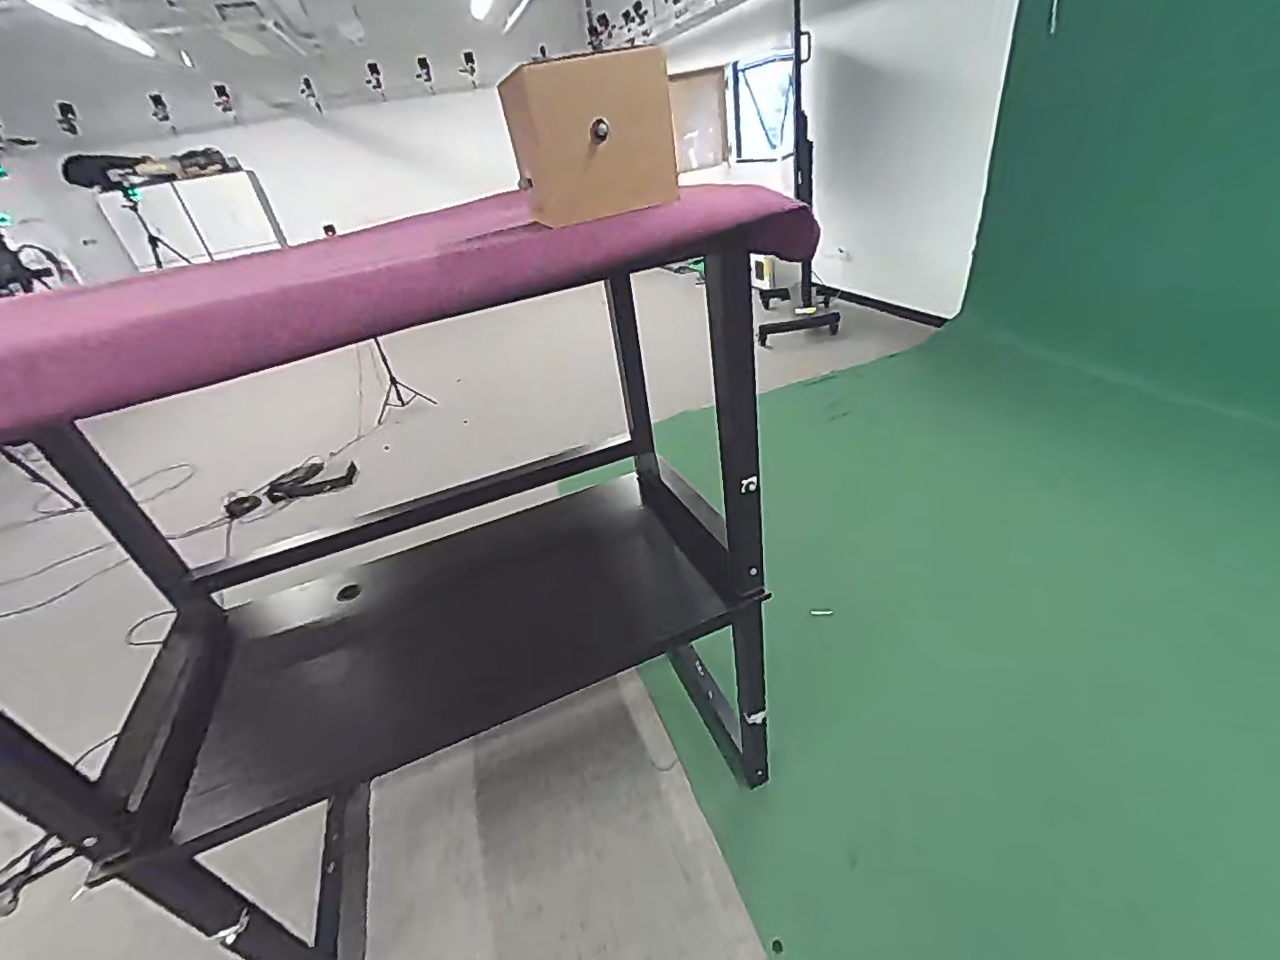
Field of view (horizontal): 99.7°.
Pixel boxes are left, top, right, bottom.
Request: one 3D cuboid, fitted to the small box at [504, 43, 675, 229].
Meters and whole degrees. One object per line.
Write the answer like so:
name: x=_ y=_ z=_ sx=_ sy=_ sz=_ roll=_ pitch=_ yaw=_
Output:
small box: x=-0.062 y=-0.444 z=0.710 sx=0.179 sy=0.176 sz=0.168 roll=-19 pitch=33 yaw=-12
